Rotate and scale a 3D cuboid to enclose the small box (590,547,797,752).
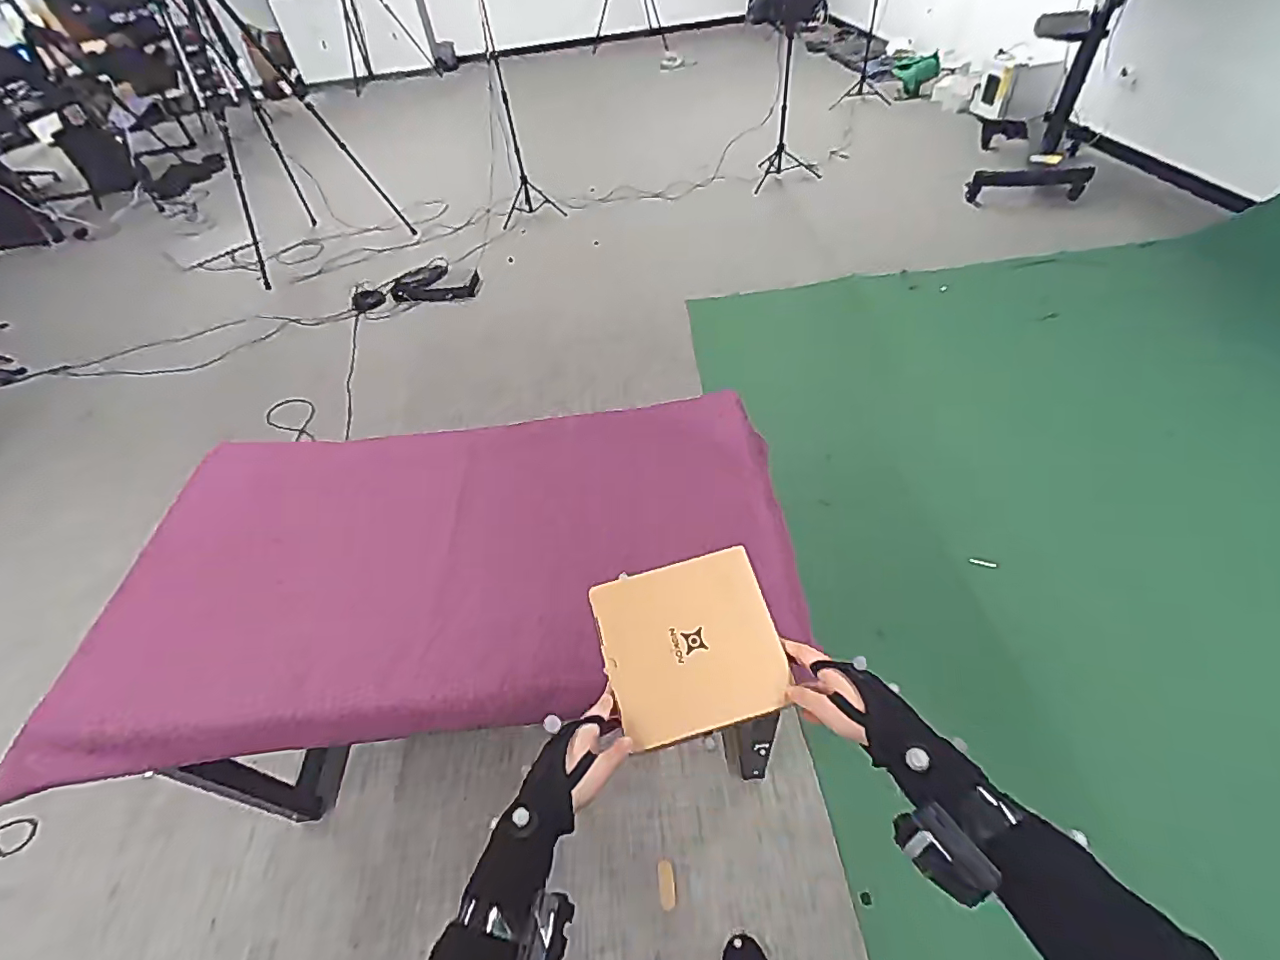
[{"bbox_3d":[0.055,0.198,0.623,0.179,0.176,0.168,-17,64,-3],"label":"small box"}]
